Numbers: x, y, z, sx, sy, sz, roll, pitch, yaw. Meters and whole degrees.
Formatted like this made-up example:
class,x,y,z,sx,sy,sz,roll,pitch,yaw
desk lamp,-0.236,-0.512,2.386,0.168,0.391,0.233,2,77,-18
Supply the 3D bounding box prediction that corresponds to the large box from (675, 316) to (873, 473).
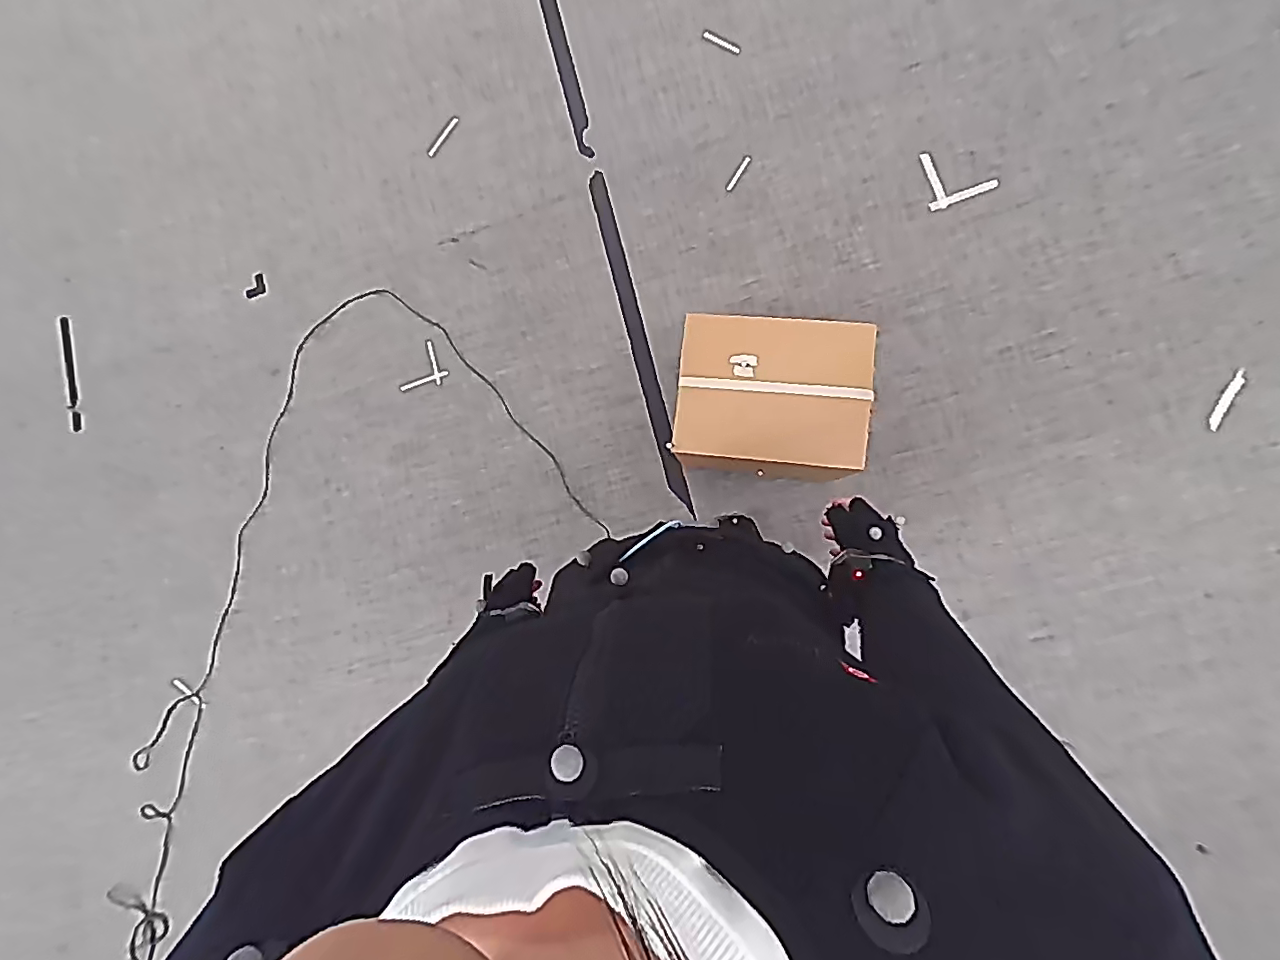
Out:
class,x,y,z,sx,sy,sz,roll,pitch,yaw
large box,0.313,-0.191,1.315,0.408,0.320,0.320,6,86,10
